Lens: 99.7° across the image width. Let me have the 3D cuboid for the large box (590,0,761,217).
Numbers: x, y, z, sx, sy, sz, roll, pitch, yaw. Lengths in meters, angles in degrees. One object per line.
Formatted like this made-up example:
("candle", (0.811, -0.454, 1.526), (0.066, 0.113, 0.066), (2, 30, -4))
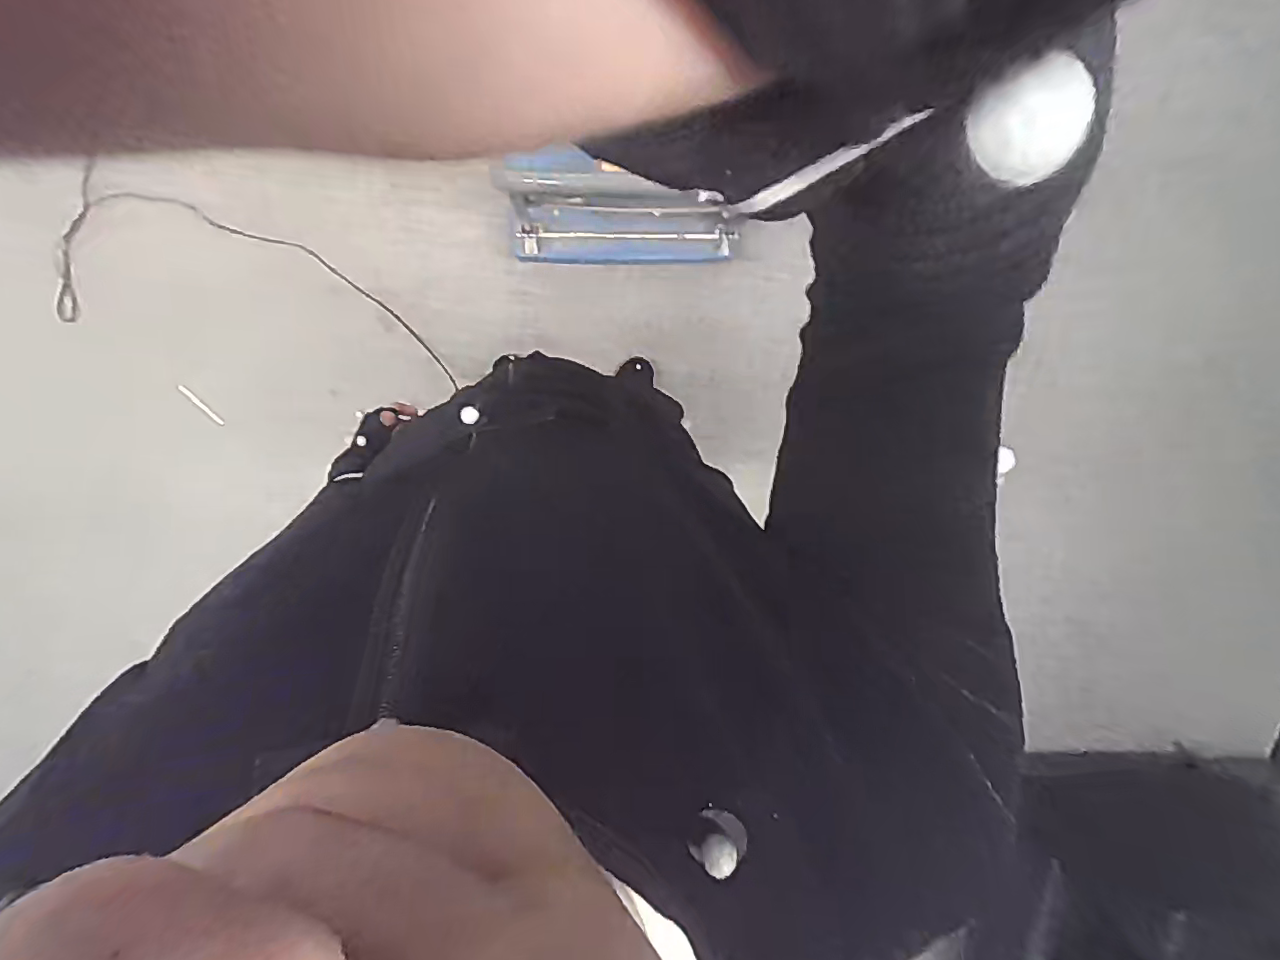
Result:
("large box", (0.059, -0.812, 1.146), (0.320, 0.320, 0.408), (-3, 103, -6))
